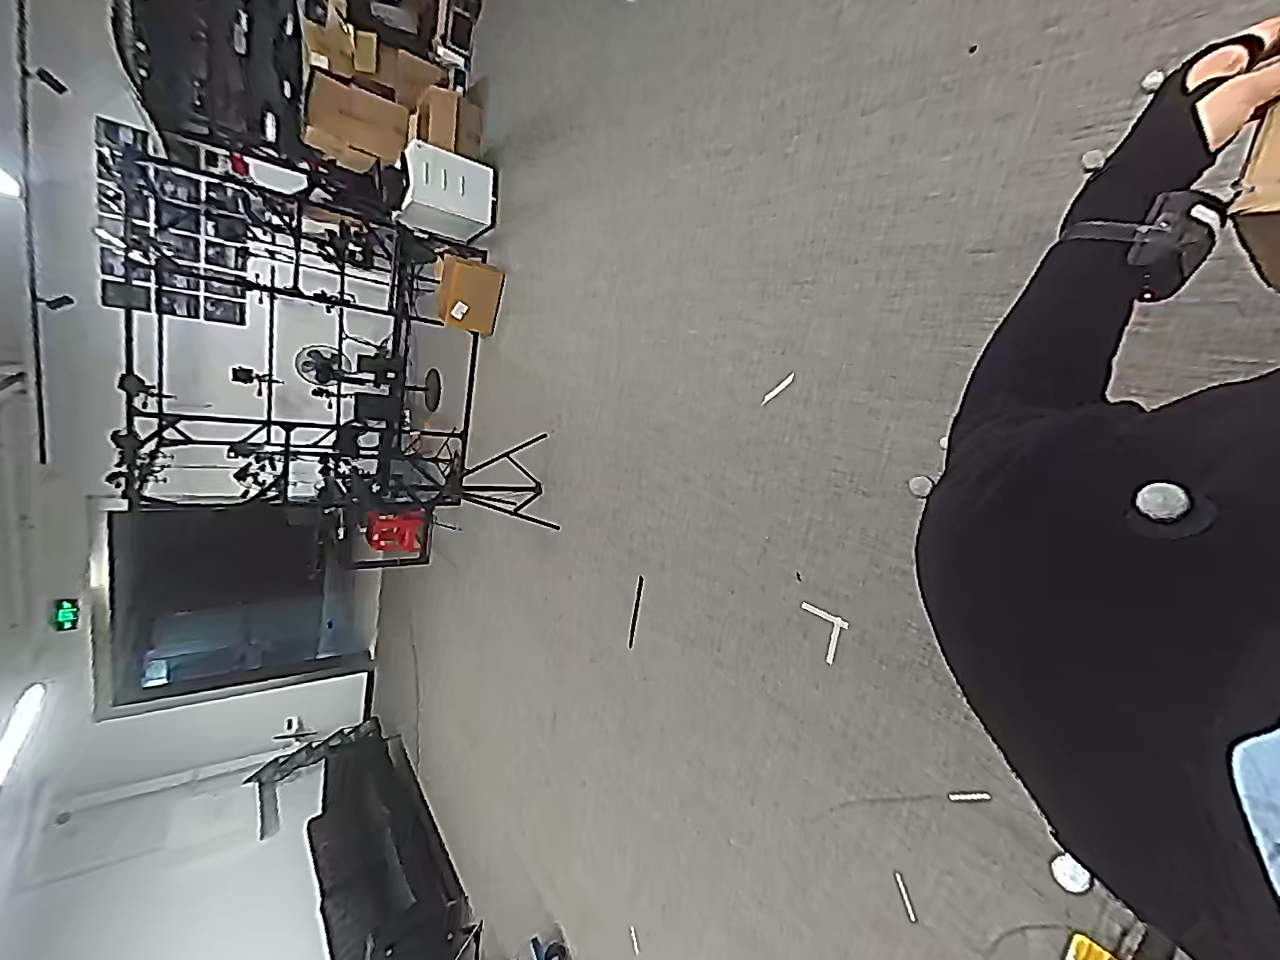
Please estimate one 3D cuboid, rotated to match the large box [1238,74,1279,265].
[{"bbox_3d":[0.702,-0.303,0.304,0.408,0.320,0.320,24,109,53],"label":"large box"}]
